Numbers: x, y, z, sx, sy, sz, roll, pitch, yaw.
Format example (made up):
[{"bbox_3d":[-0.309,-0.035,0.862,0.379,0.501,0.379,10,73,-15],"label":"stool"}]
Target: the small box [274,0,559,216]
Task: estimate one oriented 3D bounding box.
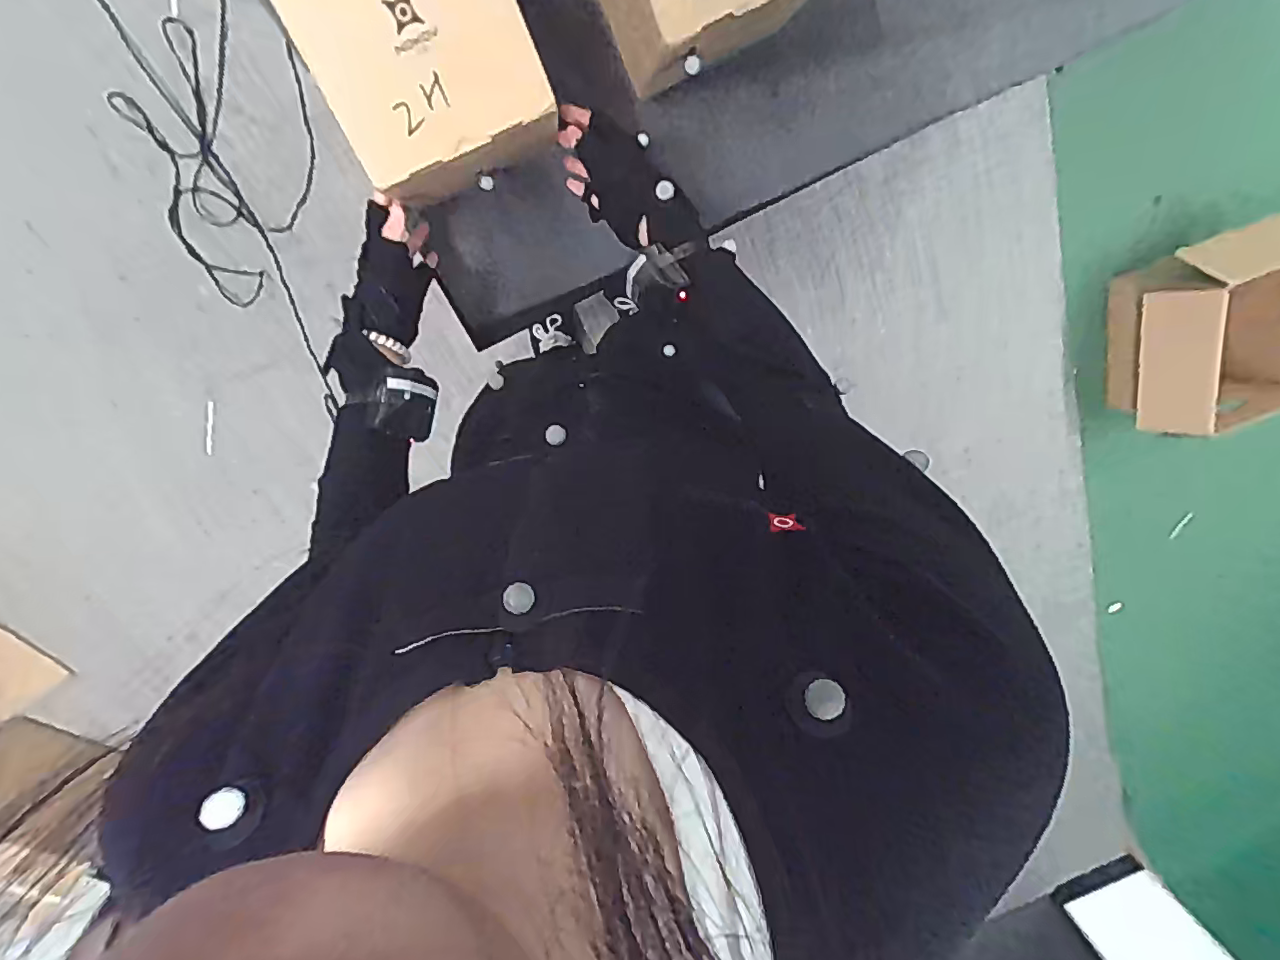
[{"bbox_3d":[-0.184,-0.363,0.485,0.168,0.176,0.179,-24,112,1],"label":"small box"}]
